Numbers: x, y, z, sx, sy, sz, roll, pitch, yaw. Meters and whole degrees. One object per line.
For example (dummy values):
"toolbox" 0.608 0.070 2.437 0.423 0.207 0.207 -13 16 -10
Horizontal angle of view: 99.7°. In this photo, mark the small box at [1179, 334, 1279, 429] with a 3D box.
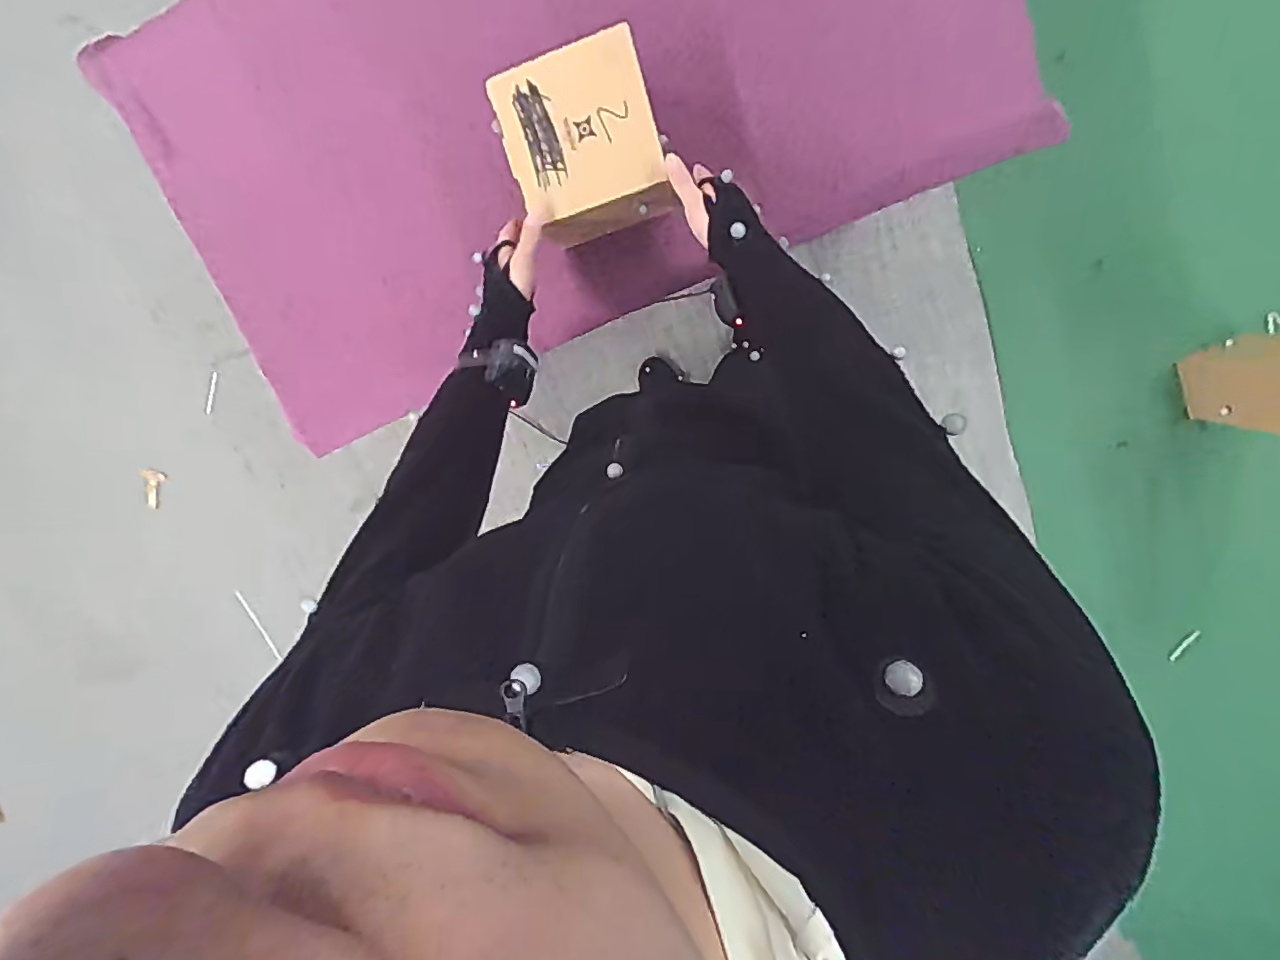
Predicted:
"small box" 1.518 -0.252 1.352 0.168 0.176 0.179 -23 102 11
